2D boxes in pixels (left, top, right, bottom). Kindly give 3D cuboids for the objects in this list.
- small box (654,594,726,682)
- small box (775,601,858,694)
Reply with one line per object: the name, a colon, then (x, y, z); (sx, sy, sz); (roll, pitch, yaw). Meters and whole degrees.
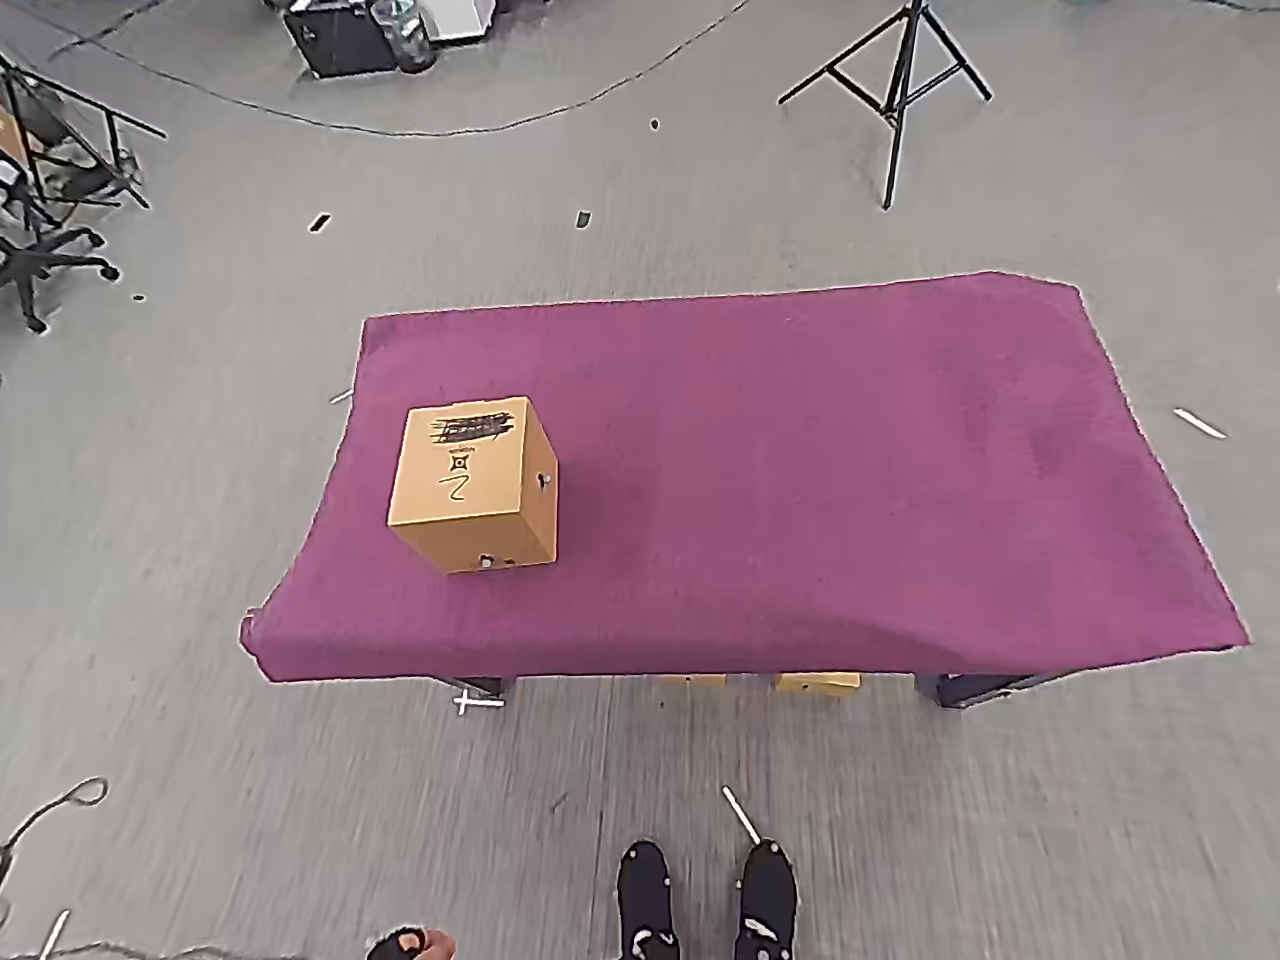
small box: (0.129, 0.395, 1.335); (0.168, 0.176, 0.179); (1, 61, 8)
small box: (0.415, 0.404, 1.293); (0.168, 0.176, 0.179); (3, 61, 10)
